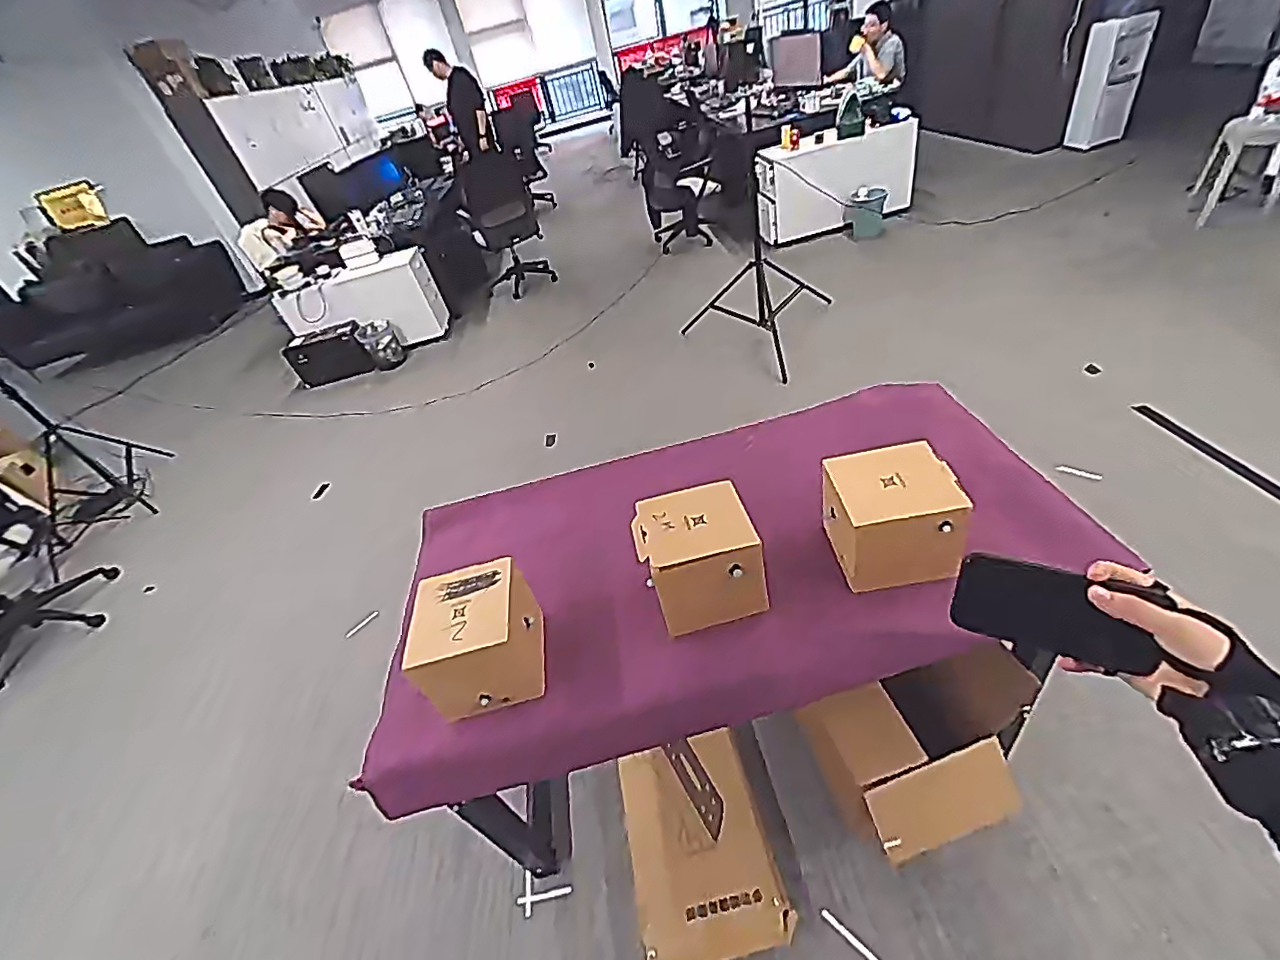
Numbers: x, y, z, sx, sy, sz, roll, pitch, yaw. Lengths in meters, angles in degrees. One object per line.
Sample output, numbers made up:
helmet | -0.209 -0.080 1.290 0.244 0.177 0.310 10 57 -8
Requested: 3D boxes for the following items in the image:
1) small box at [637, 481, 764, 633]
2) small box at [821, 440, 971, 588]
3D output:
small box | 0.106 0.133 0.927 0.179 0.176 0.168 -16 37 0
small box | 0.415 0.061 0.906 0.179 0.176 0.168 -11 40 6
